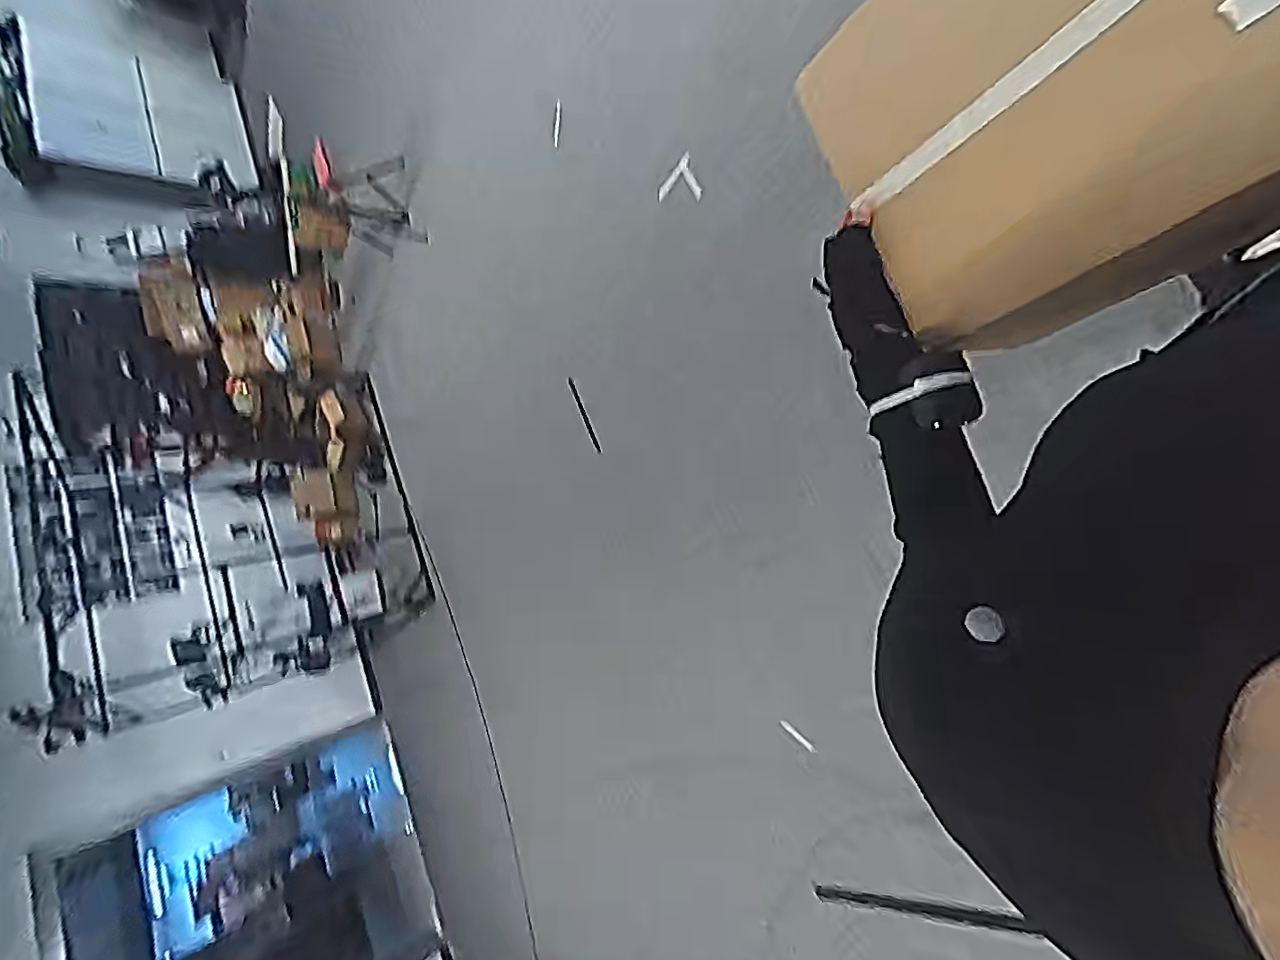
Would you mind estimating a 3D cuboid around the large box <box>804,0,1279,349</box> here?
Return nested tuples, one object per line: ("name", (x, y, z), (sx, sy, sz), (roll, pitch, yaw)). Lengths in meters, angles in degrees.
("large box", (0.442, -0.356, 0.489), (0.408, 0.320, 0.320), (-31, 77, 46))
